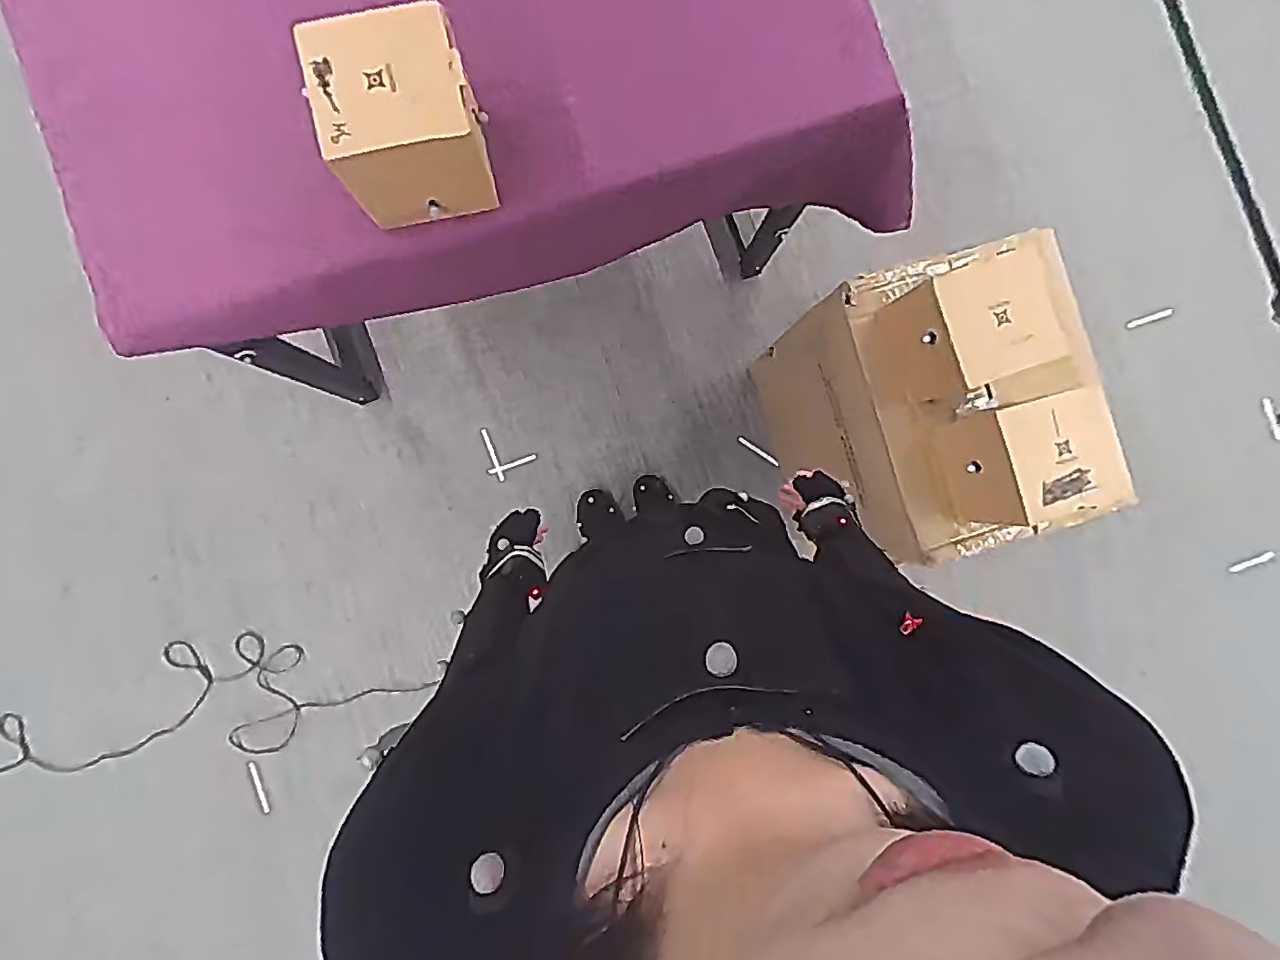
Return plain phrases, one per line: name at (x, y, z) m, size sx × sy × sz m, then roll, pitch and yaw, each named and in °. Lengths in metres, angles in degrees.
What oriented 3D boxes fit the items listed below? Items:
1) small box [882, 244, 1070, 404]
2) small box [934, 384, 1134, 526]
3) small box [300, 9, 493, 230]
small box at (0.518, -0.237, 0.861) m, size 0.168 × 0.176 × 0.179 m, roll -19°, pitch 91°, yaw -2°
small box at (0.608, -0.034, 0.857) m, size 0.168 × 0.176 × 0.179 m, roll -16°, pitch 87°, yaw -3°
small box at (-0.302, -0.460, 0.714) m, size 0.179 × 0.176 × 0.168 m, roll -13°, pitch 88°, yaw -5°
